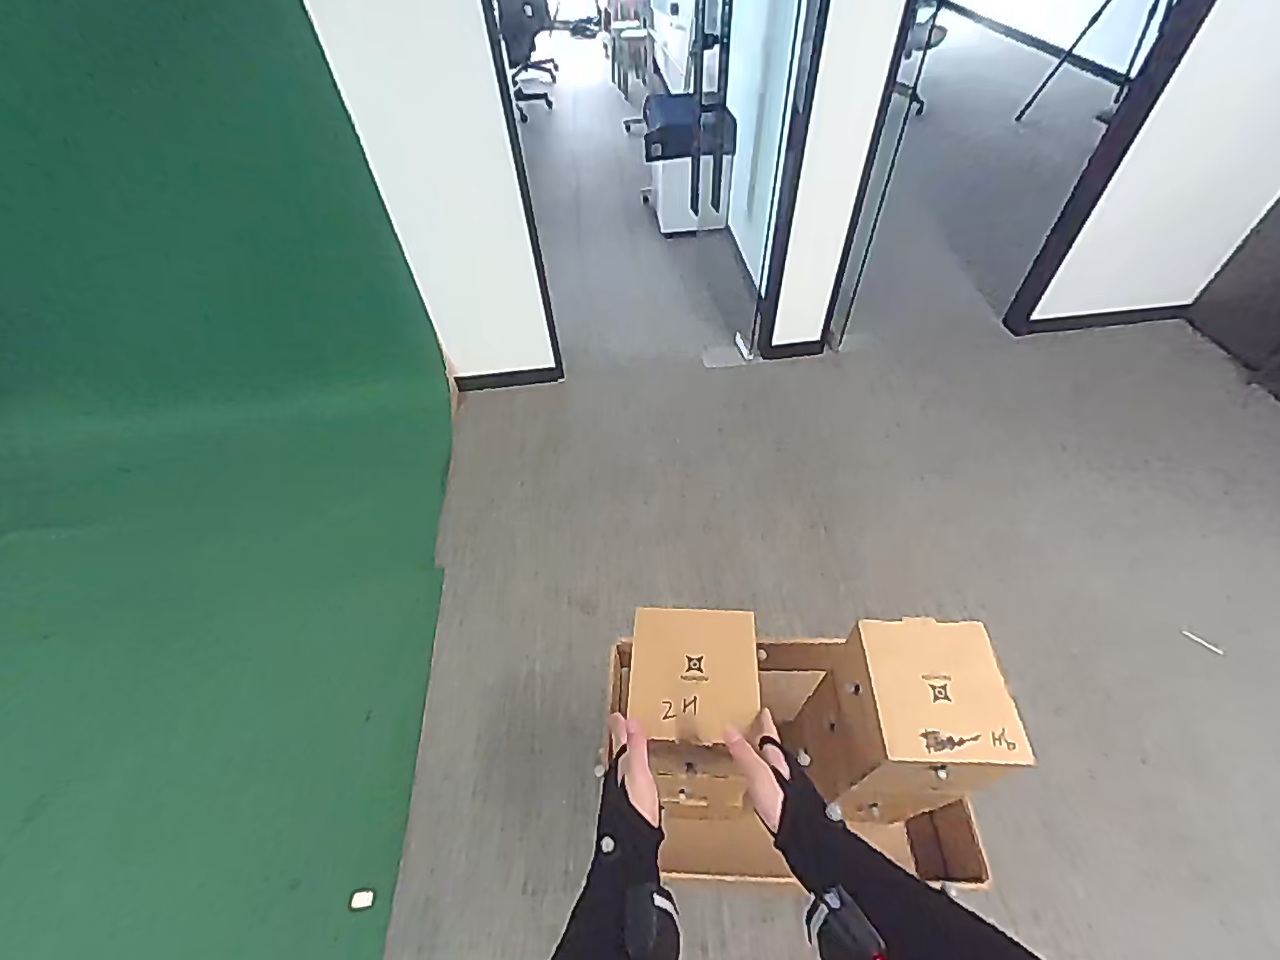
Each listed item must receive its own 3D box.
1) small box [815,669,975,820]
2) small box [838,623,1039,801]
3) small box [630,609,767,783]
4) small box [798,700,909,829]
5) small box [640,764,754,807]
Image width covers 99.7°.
[{"bbox_3d":[0.383,0.418,0.853,0.168,0.176,0.179,1,51,5],"label":"small box"},{"bbox_3d":[0.377,0.312,0.727,0.168,0.176,0.179,0,50,5],"label":"small box"},{"bbox_3d":[0.079,0.302,0.754,0.168,0.176,0.179,2,50,6],"label":"small box"},{"bbox_3d":[0.390,0.519,0.980,0.168,0.176,0.179,2,50,4],"label":"small box"},{"bbox_3d":[0.088,0.411,0.878,0.168,0.176,0.179,1,50,4],"label":"small box"}]
